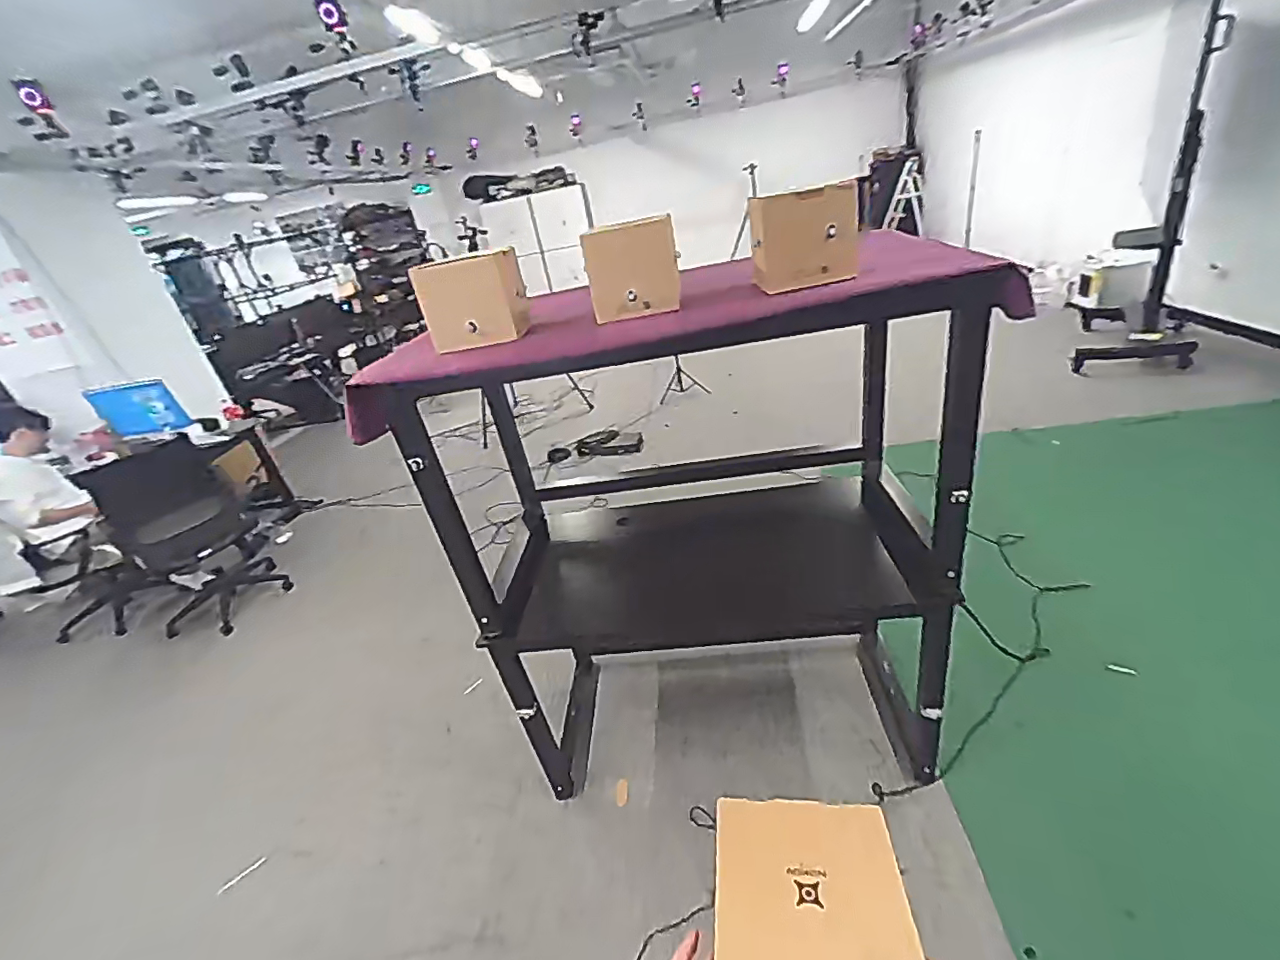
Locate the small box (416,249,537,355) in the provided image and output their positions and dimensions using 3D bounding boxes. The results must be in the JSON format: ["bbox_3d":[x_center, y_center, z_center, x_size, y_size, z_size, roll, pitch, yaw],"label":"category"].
[{"bbox_3d":[-0.329,-0.373,1.129,0.179,0.176,0.168,-8,27,6],"label":"small box"}]

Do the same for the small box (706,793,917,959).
[{"bbox_3d":[0.155,0.434,0.508,0.168,0.176,0.179,-4,19,11],"label":"small box"}]

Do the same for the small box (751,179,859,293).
[{"bbox_3d":[0.315,-0.465,1.039,0.168,0.176,0.179,-9,26,7],"label":"small box"}]
